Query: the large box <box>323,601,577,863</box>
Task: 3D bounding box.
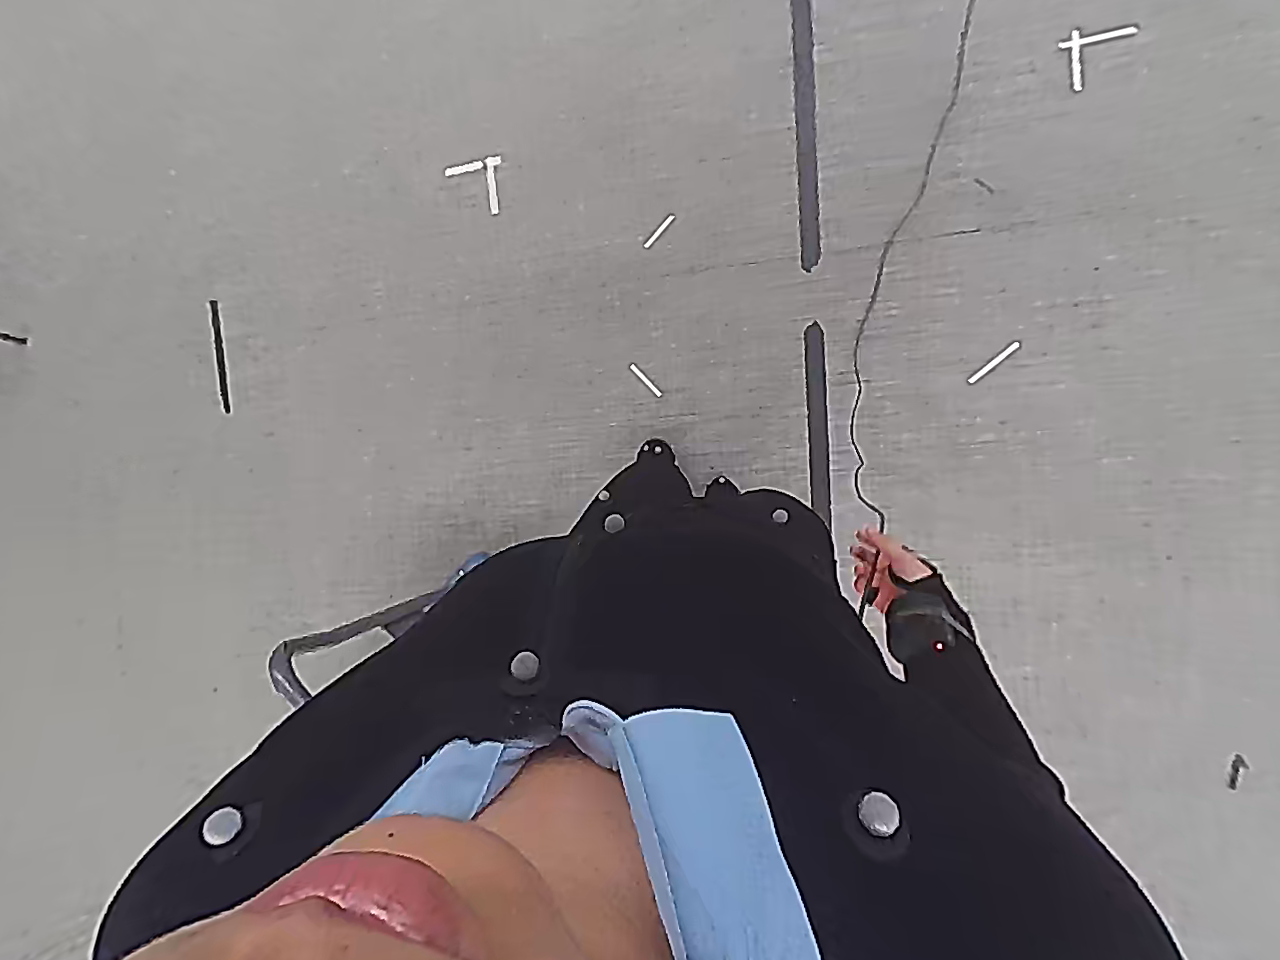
[{"bbox_3d":[-0.426,0.565,1.283,0.408,0.320,0.320,45,99,7],"label":"large box"}]
